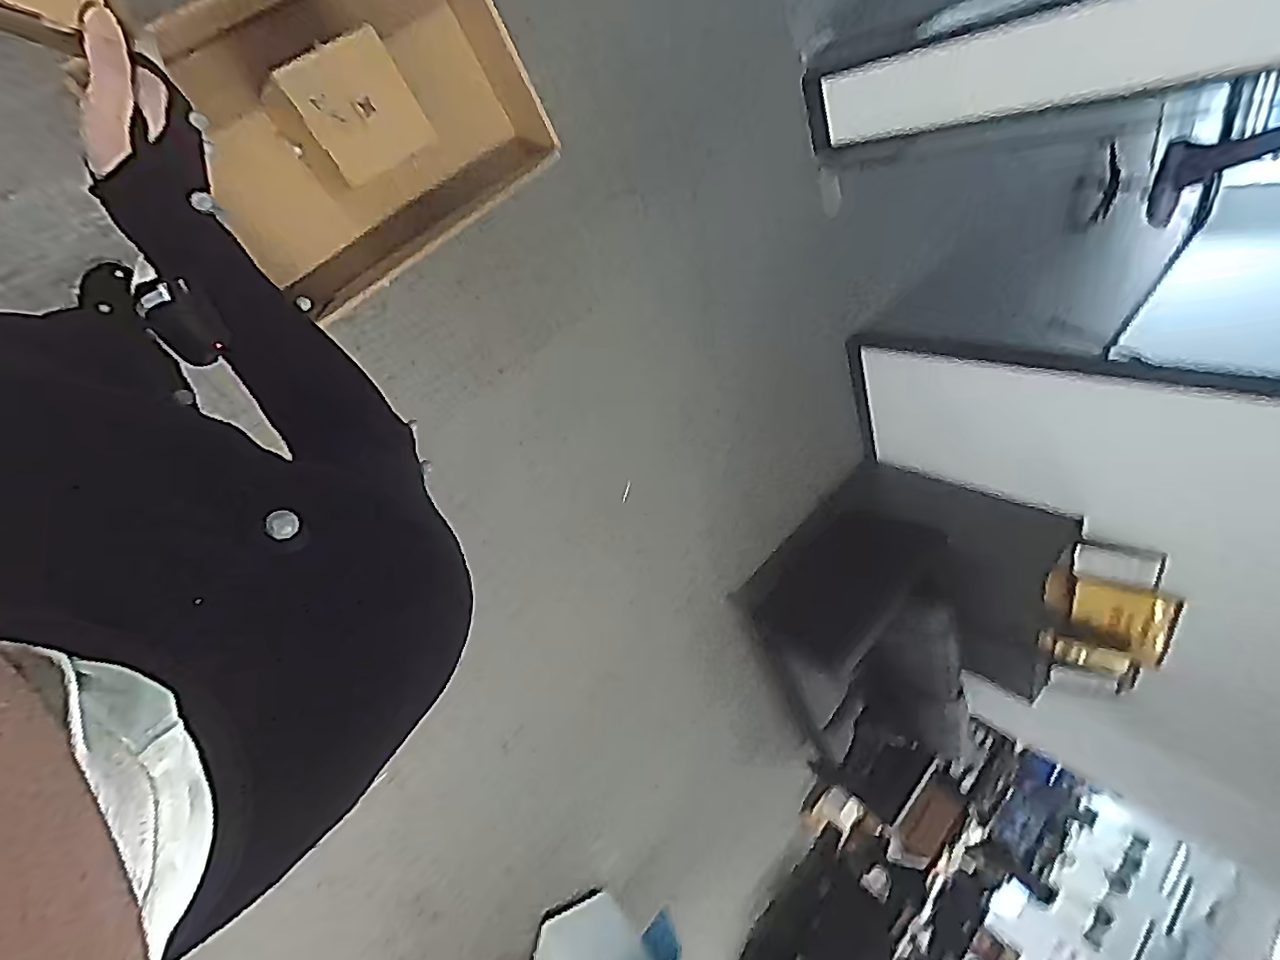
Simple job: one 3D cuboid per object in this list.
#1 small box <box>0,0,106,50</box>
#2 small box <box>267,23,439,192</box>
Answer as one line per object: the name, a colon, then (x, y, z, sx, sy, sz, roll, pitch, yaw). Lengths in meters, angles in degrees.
small box: (-0.466, -0.415, 0.346, 0.168, 0.176, 0.179, -6, 117, -42)
small box: (-0.478, -0.606, 0.897, 0.179, 0.176, 0.168, -45, 130, -18)
